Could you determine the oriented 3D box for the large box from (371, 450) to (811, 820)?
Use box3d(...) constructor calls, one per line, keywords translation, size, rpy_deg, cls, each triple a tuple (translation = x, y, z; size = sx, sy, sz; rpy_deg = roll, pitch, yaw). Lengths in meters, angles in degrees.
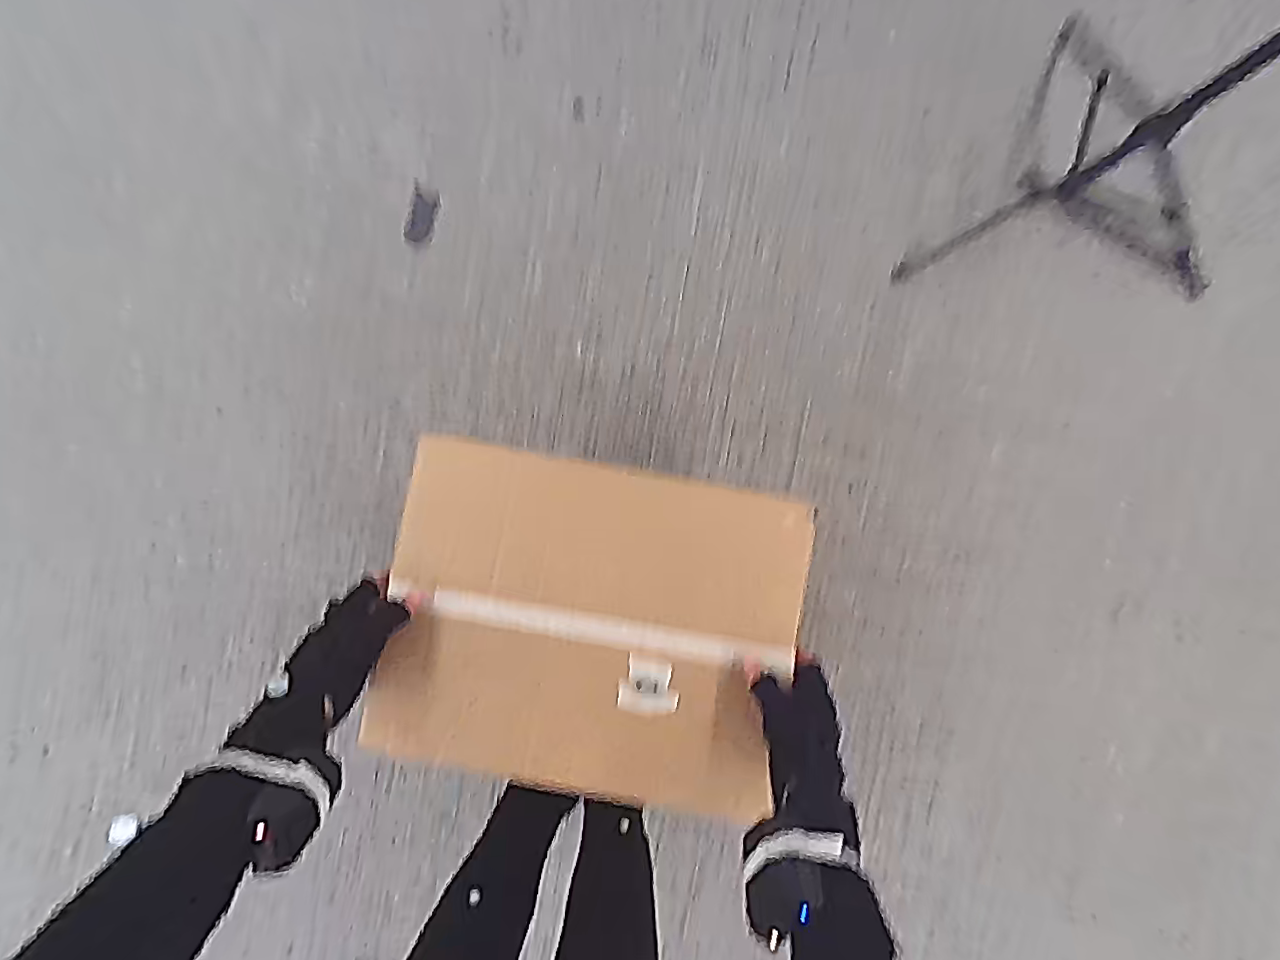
box3d(translation=(-0.046, 0.163, 0.684), size=(0.408, 0.320, 0.320), rpy_deg=(10, 85, 1), cls="large box")
